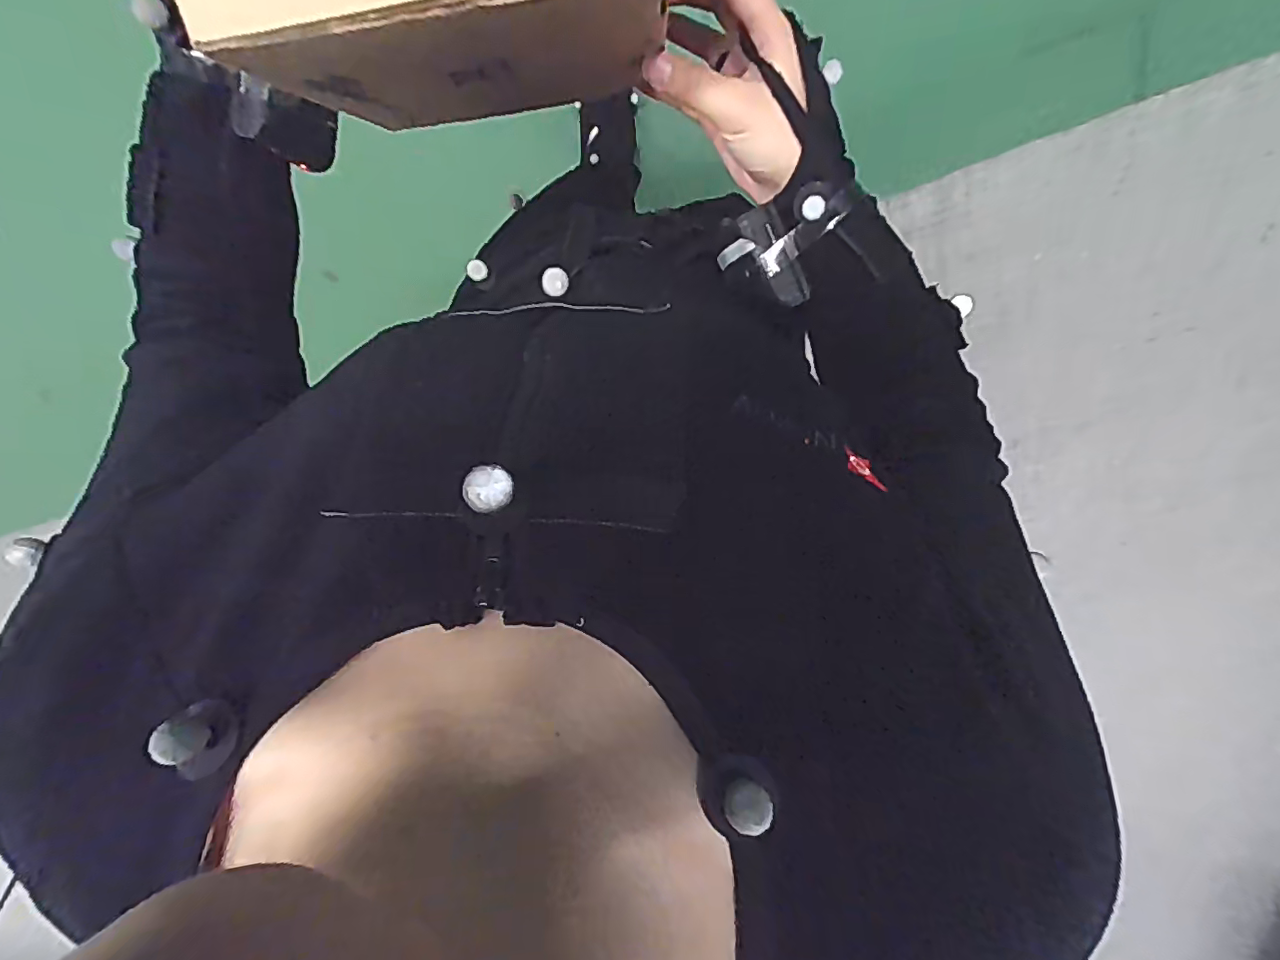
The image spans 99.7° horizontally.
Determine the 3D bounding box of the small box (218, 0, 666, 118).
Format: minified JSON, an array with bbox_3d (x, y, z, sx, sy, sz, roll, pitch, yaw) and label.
[{"bbox_3d":[-0.087,-0.286,0.234,0.179,0.168,0.176,-8,113,5],"label":"small box"}]
